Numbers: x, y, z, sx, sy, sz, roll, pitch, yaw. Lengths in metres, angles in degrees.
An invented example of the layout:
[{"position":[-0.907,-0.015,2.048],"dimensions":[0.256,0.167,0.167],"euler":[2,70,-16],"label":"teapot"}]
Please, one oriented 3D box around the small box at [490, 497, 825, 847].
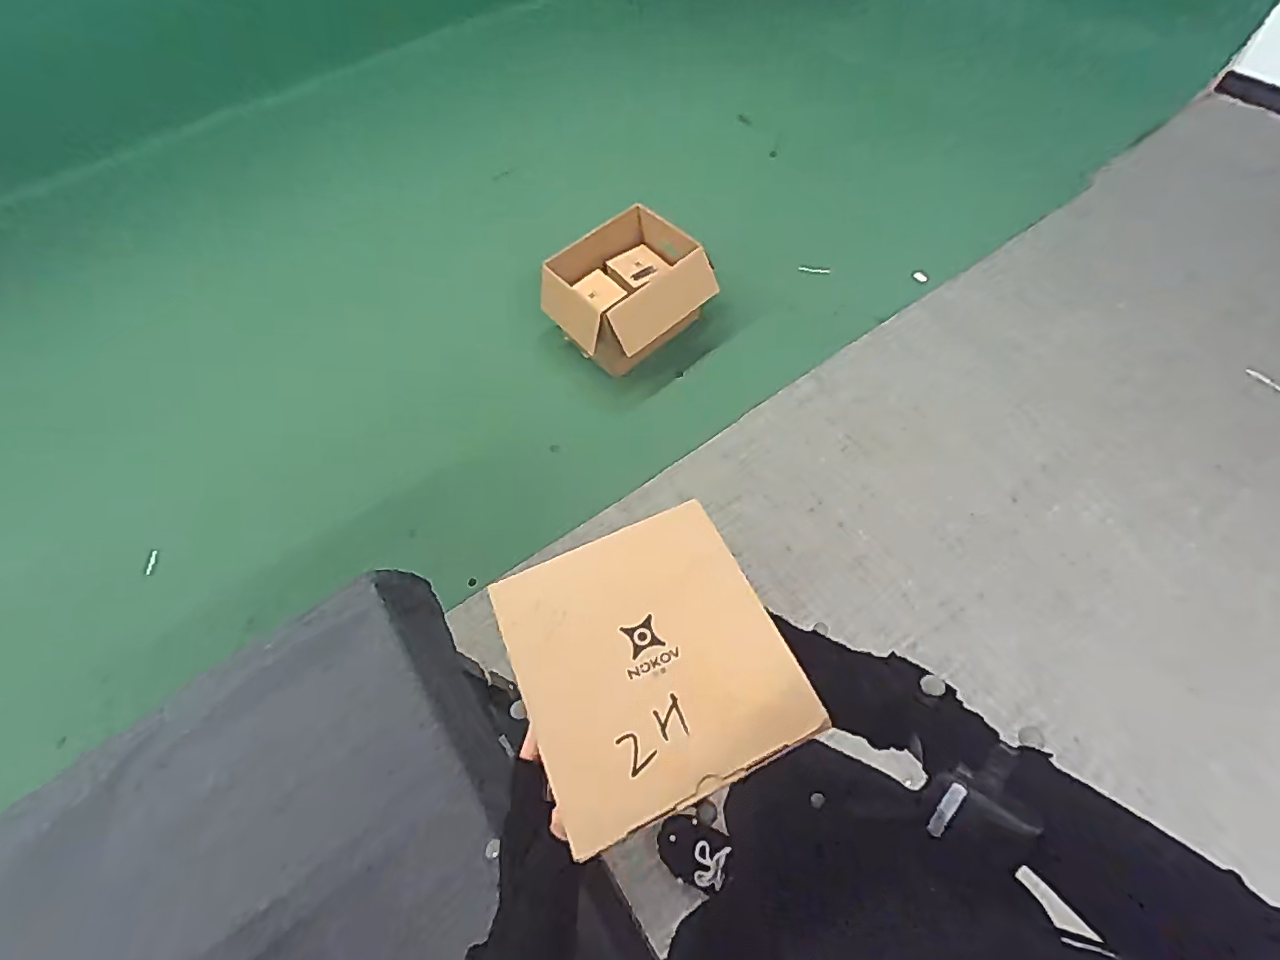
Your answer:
[{"position":[0.005,0.148,0.413],"dimensions":[0.168,0.176,0.179],"euler":[-22,59,-11],"label":"small box"}]
